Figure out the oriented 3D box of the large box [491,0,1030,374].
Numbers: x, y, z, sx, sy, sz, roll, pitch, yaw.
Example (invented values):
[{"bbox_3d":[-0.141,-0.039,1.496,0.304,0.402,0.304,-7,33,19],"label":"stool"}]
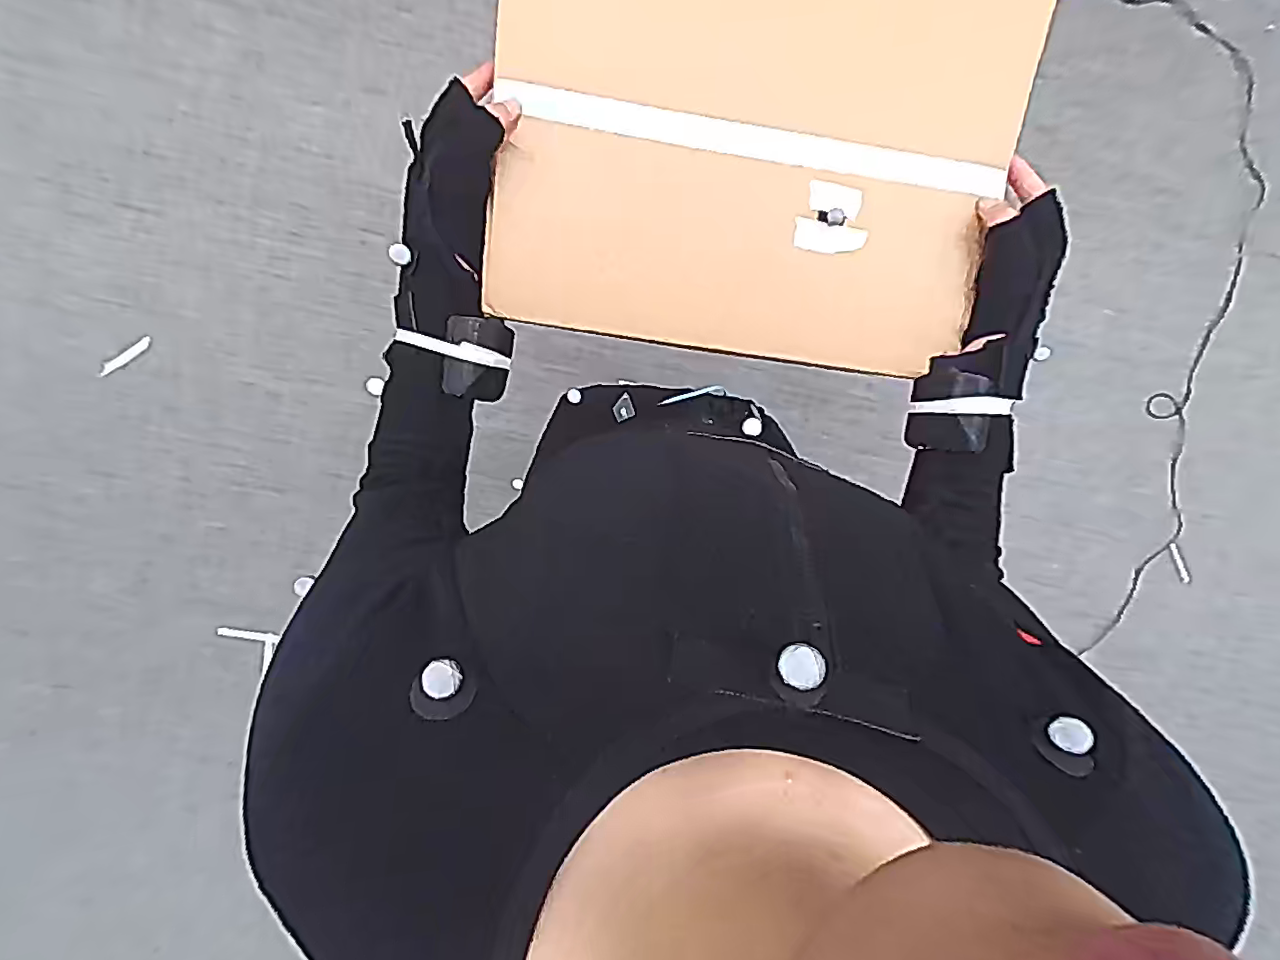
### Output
[{"bbox_3d":[0.076,-0.300,0.575,0.408,0.320,0.320,7,106,-6],"label":"large box"}]
